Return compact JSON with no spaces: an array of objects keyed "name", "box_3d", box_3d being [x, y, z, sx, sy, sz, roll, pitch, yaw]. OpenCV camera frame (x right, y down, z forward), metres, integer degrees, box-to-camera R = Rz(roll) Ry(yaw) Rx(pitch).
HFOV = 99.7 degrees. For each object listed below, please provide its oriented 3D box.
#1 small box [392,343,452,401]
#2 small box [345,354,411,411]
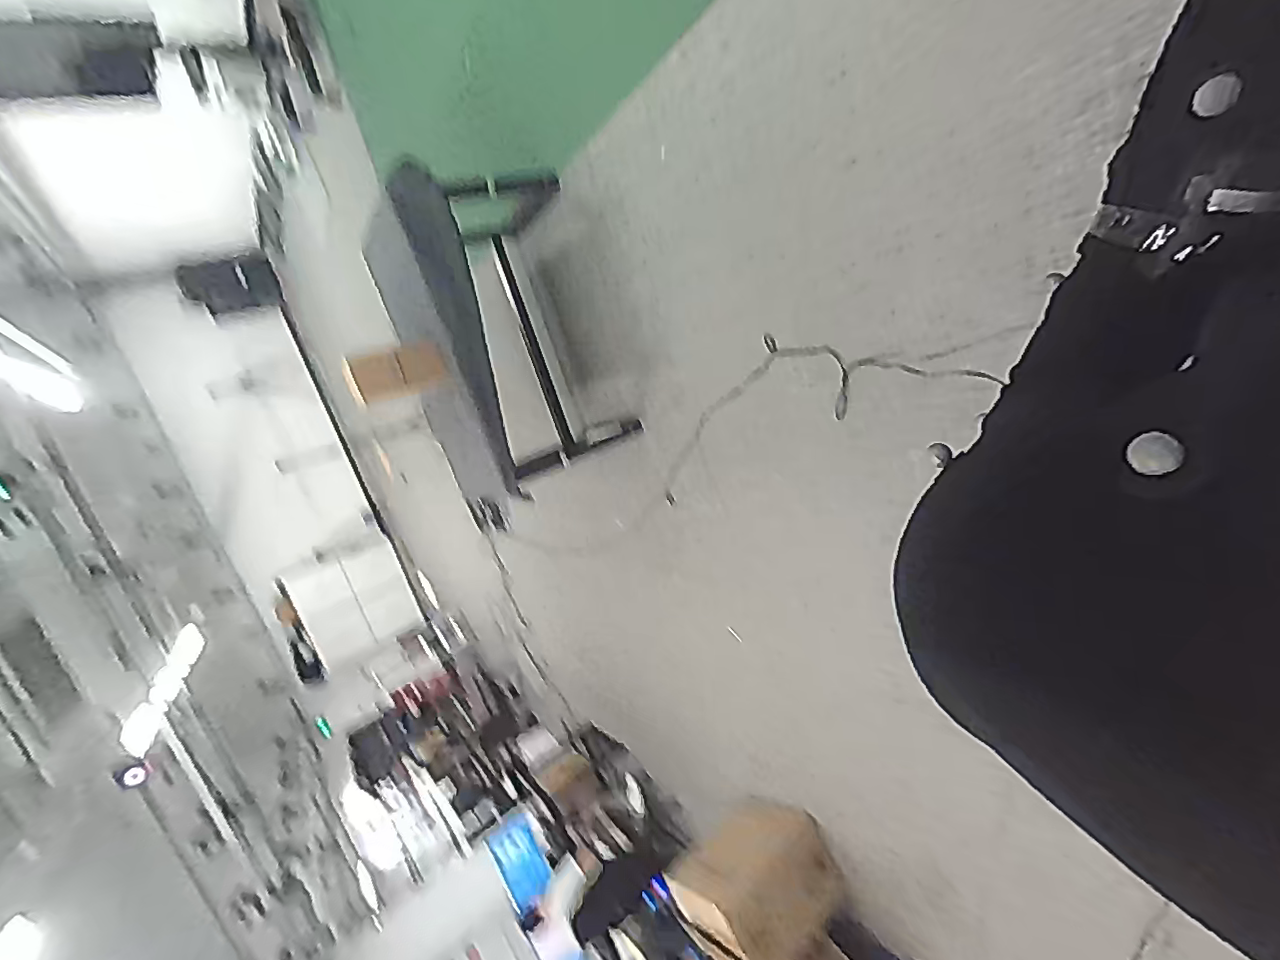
[{"name":"small box","box_3d":[-0.877,-0.435,2.157,0.168,0.176,0.179,-4,109,58]},{"name":"small box","box_3d":[-1.002,-0.376,2.069,0.168,0.176,0.179,-1,110,57]}]
